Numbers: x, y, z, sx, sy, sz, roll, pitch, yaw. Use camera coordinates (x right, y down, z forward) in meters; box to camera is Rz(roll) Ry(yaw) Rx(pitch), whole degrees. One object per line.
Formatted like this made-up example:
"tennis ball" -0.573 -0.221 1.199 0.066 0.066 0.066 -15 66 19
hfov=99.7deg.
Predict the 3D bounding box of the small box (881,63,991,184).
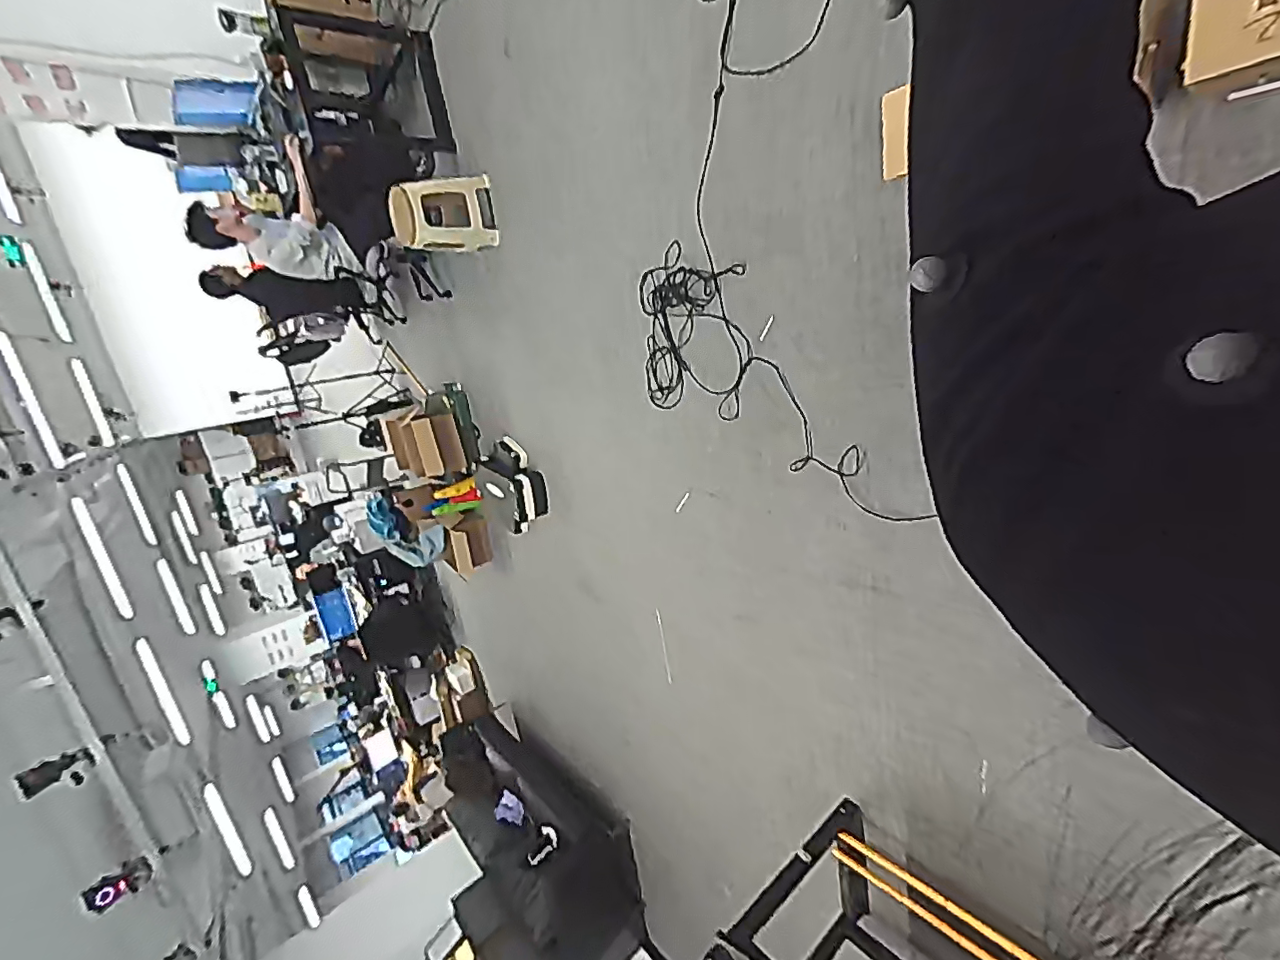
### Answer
"small box" 0.661 -0.782 1.207 0.168 0.176 0.179 11 115 51

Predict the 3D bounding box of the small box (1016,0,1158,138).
"small box" 0.824 -0.755 0.999 0.168 0.176 0.179 10 113 52
